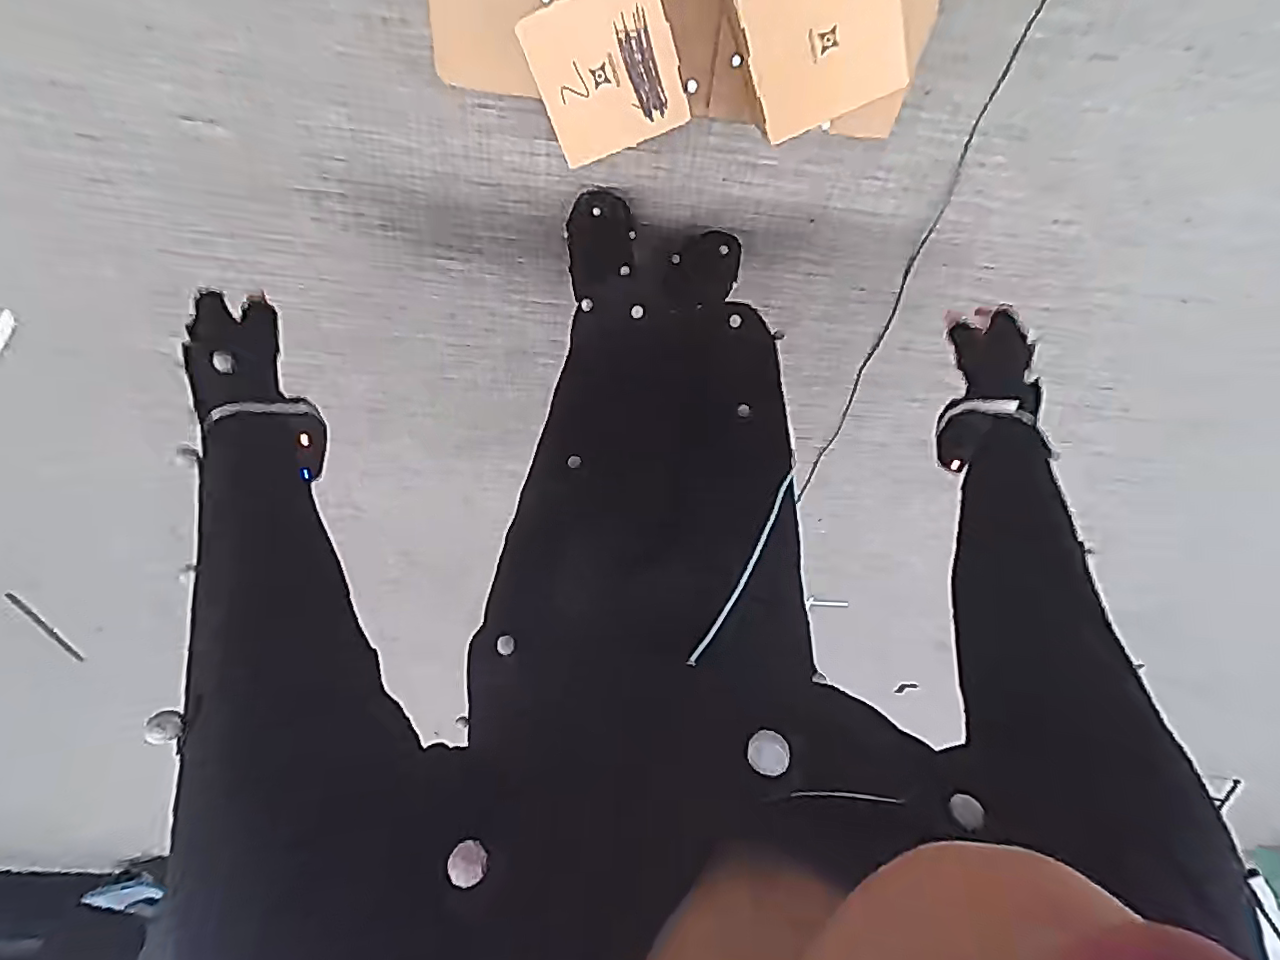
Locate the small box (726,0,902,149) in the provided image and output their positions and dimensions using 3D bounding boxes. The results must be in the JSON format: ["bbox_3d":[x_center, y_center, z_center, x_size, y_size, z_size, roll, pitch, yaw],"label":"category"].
[{"bbox_3d":[0.223,-0.579,0.717,0.179,0.176,0.168,-16,128,17],"label":"small box"}]
